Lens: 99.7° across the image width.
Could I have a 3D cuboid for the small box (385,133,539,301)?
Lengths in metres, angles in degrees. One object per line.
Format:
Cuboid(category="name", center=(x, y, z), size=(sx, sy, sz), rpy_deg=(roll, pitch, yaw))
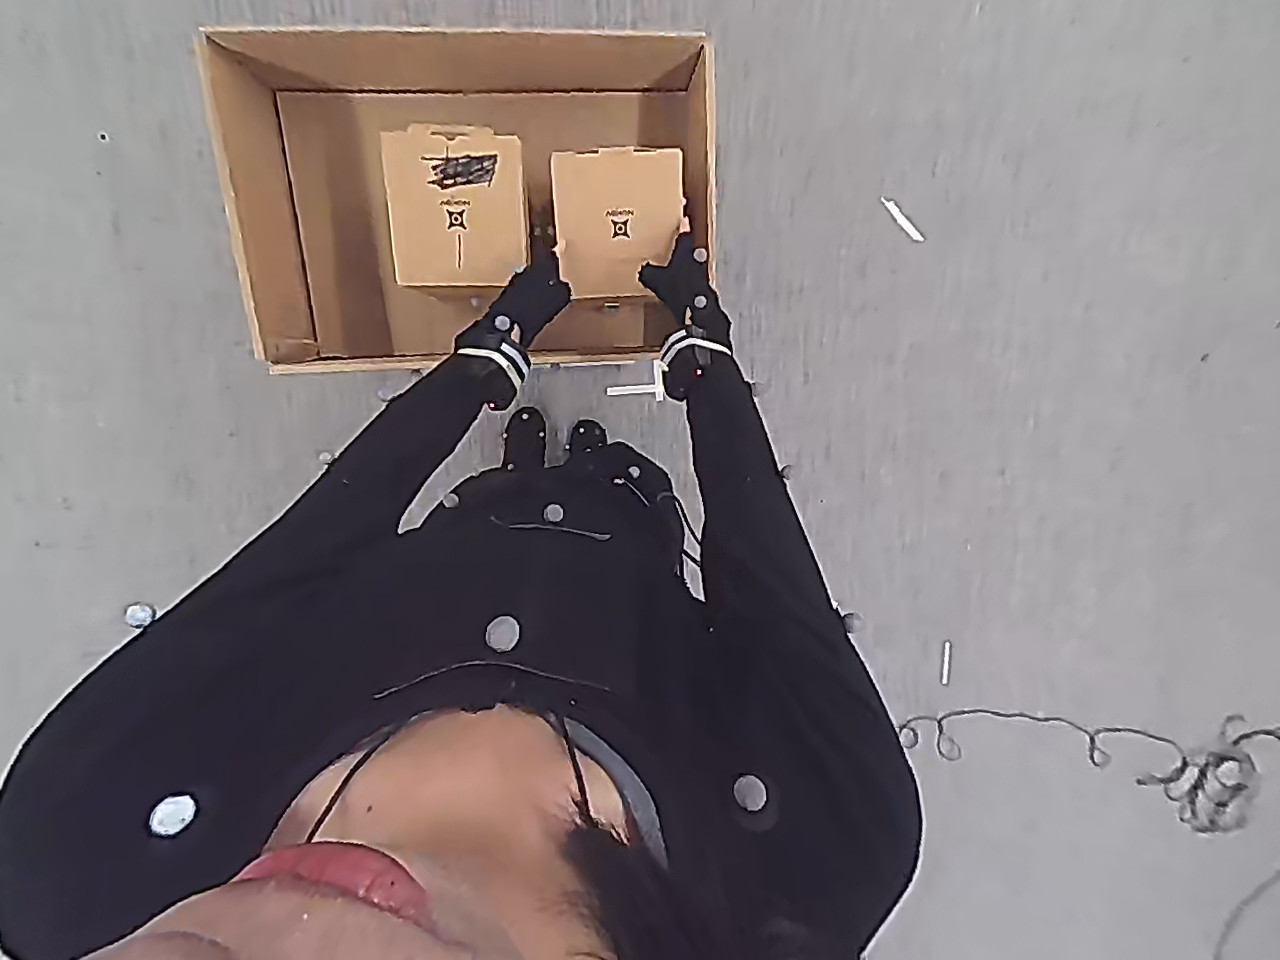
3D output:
Cuboid(category="small box", center=(-0.232, -0.348, 0.746), size=(0.168, 0.176, 0.179), rpy_deg=(-2, 104, -5))
